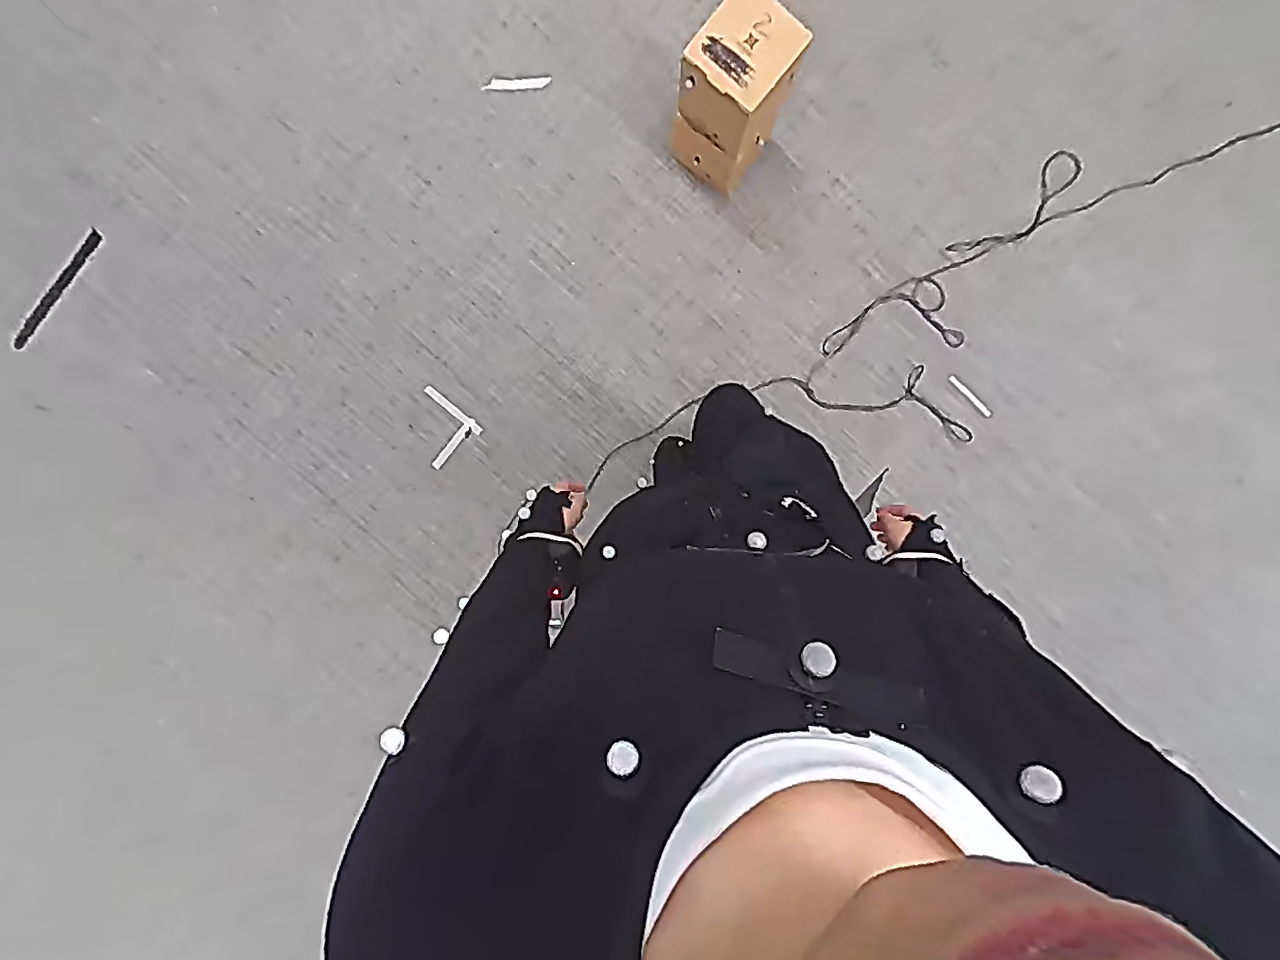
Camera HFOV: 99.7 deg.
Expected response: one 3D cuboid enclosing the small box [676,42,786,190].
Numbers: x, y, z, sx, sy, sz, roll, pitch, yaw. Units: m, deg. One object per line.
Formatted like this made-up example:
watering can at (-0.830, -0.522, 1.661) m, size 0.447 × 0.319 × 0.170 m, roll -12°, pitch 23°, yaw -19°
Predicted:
small box at (0.191, -0.795, 1.202) m, size 0.168 × 0.176 × 0.179 m, roll 35°, pitch 95°, yaw -2°
